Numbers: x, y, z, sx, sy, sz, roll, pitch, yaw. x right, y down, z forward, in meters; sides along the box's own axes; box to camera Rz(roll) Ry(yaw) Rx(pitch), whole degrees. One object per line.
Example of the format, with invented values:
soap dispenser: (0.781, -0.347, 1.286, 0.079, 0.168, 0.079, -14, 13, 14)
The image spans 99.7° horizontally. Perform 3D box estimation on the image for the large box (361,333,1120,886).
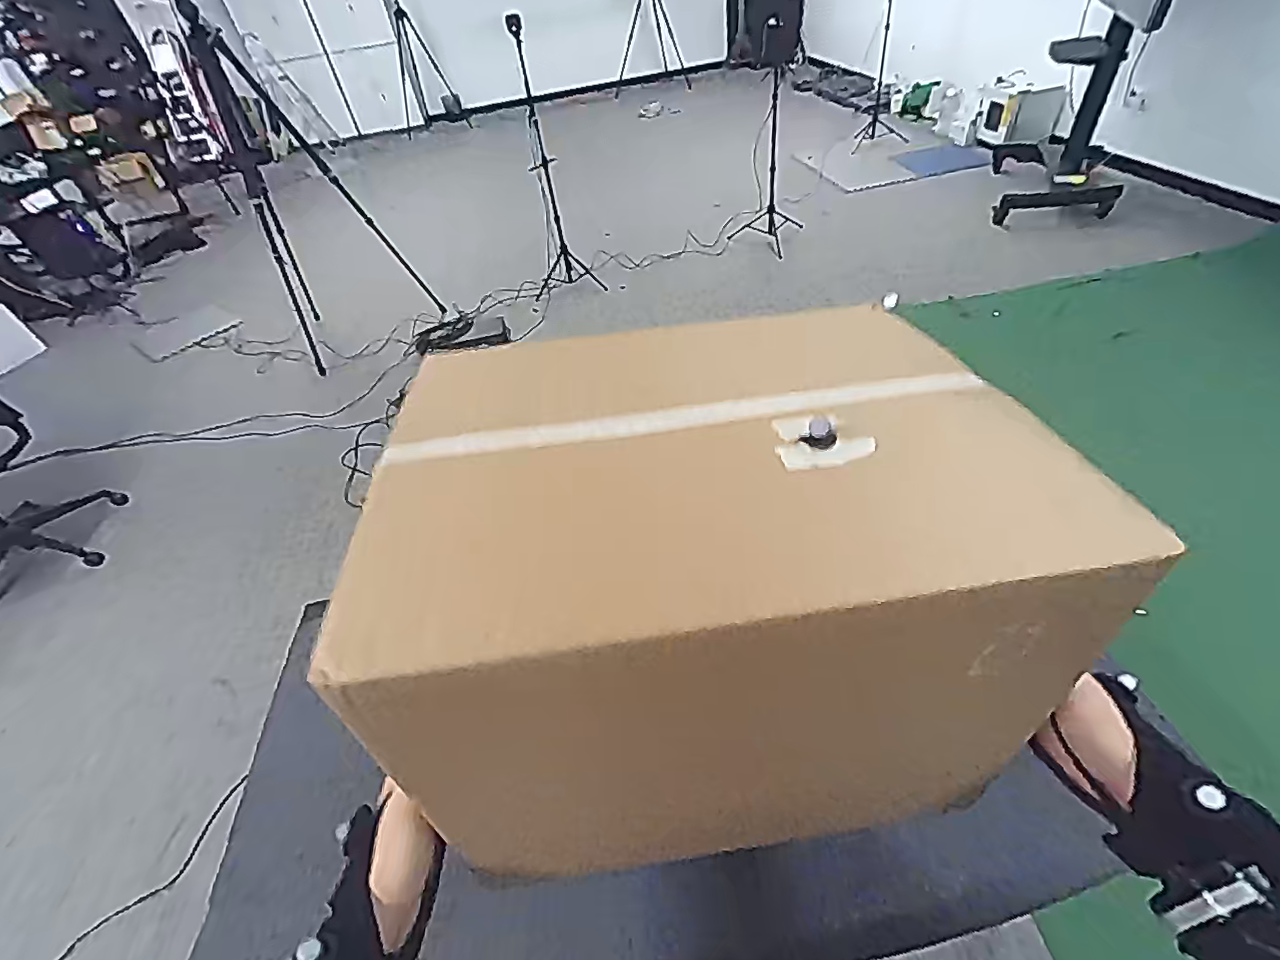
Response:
large box: (0.047, 0.095, 0.476, 0.408, 0.320, 0.320, -8, 40, -4)
